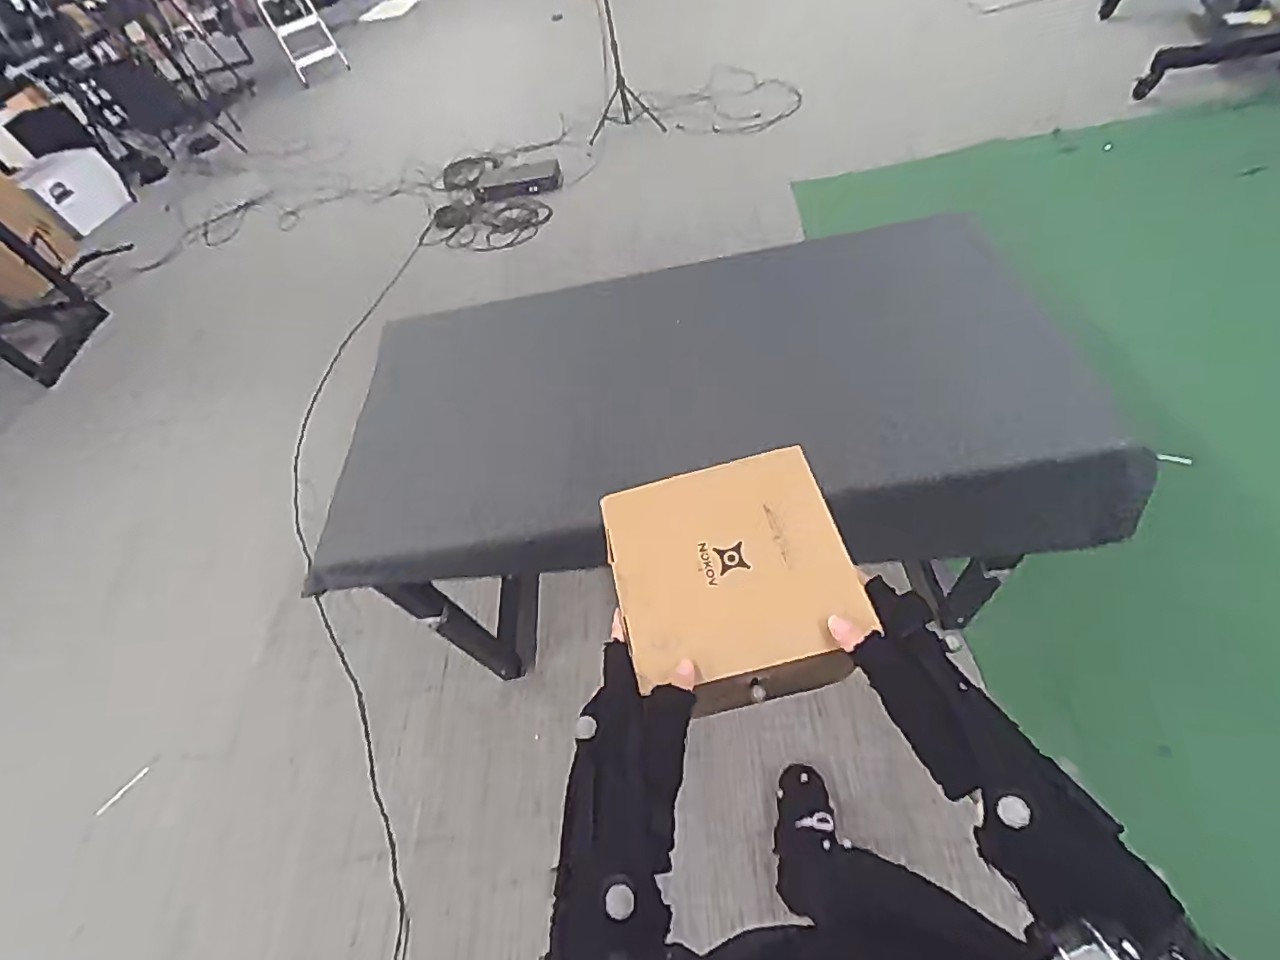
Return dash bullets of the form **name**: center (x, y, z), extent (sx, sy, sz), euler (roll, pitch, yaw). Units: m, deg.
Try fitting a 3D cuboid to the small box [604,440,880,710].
- **small box**: center (0.080, 0.094, 0.485), extent (0.179, 0.176, 0.168), euler (-15, 59, 0)
